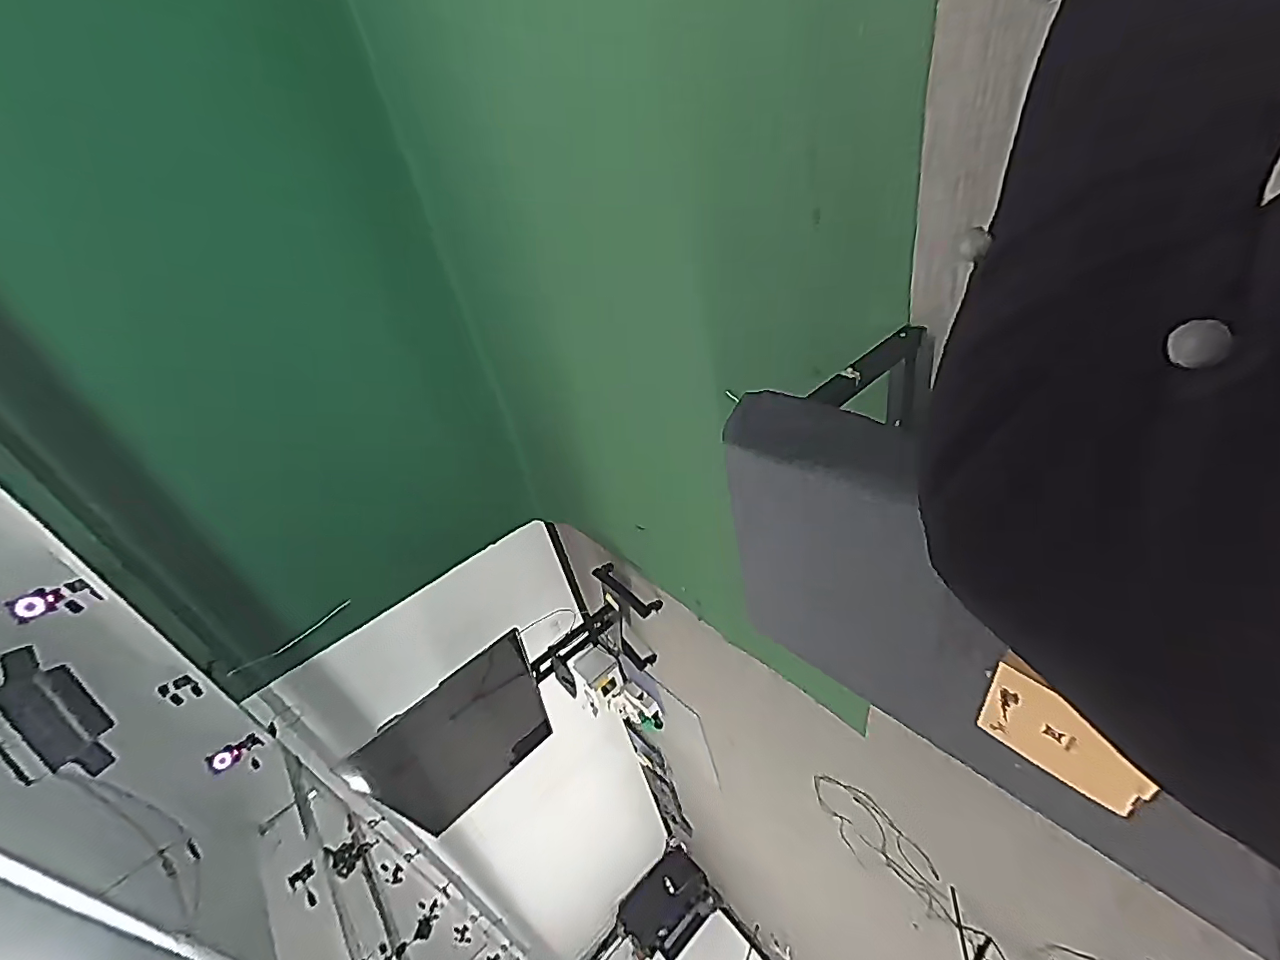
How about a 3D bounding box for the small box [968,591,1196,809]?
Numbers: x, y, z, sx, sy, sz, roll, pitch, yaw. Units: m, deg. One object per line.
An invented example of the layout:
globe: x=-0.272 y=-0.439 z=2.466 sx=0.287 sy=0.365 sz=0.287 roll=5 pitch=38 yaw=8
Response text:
small box: x=0.583 y=0.282 z=0.724 sx=0.179 sy=0.176 sz=0.168 roll=30 pitch=145 yaw=42
